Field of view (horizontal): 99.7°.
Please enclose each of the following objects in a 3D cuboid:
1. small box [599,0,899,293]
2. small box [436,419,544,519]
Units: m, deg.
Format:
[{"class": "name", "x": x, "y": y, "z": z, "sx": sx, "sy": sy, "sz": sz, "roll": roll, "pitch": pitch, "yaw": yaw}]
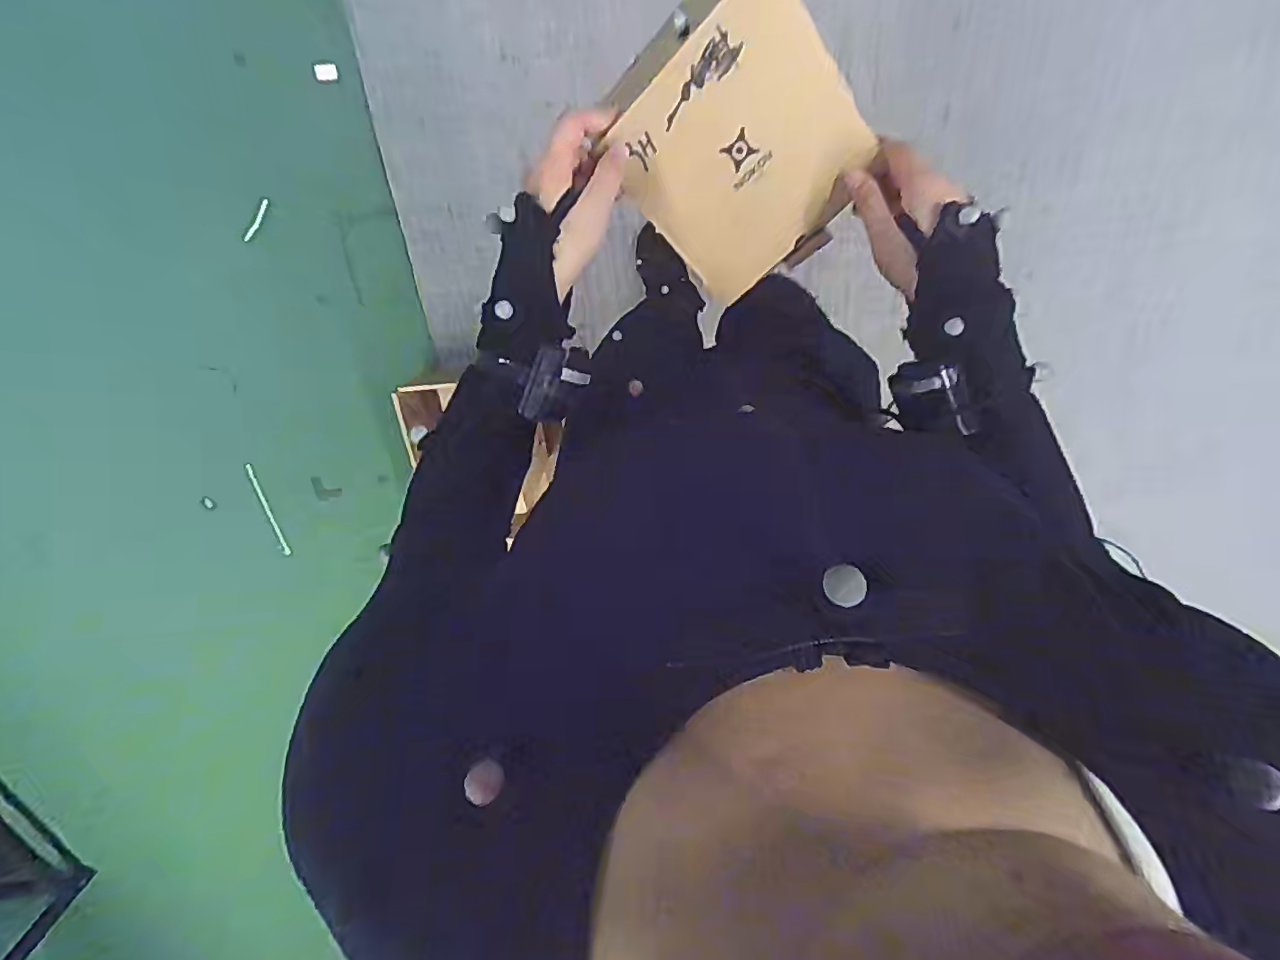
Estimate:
[{"class": "small box", "x": 0.082, "y": -0.308, "z": 0.466, "sx": 0.168, "sy": 0.176, "sz": 0.179, "roll": -37, "pitch": 126, "yaw": 26}, {"class": "small box", "x": -0.328, "y": -0.029, "z": 1.215, "sx": 0.179, "sy": 0.176, "sz": 0.168, "roll": -5, "pitch": 117, "yaw": 3}]
